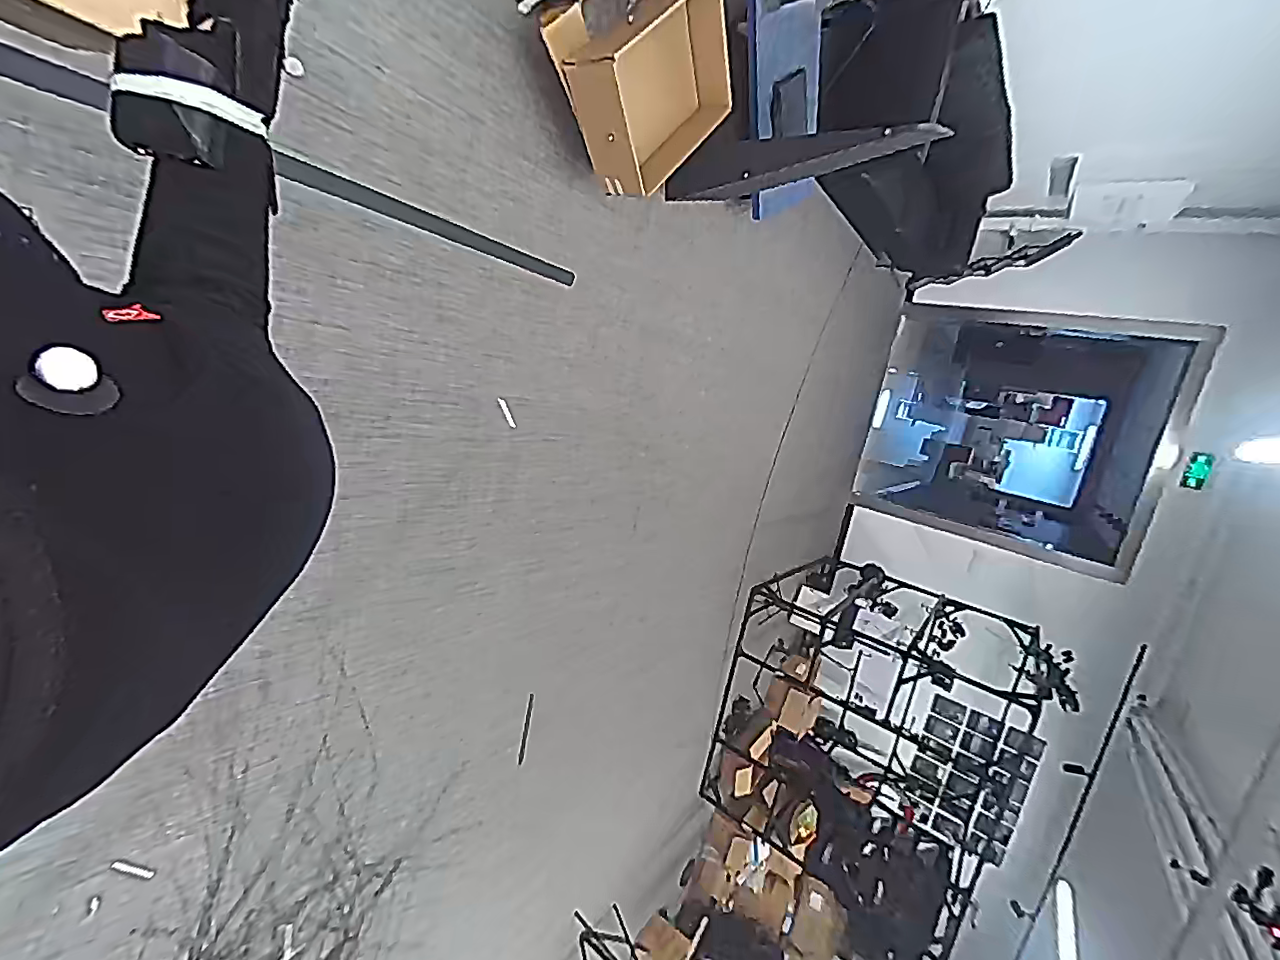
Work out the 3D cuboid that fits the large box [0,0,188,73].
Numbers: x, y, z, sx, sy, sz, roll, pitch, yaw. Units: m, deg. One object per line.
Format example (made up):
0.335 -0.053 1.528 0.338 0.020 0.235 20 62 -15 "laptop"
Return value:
-0.495 -0.464 0.239 0.408 0.320 0.320 -6 121 -56 "large box"
